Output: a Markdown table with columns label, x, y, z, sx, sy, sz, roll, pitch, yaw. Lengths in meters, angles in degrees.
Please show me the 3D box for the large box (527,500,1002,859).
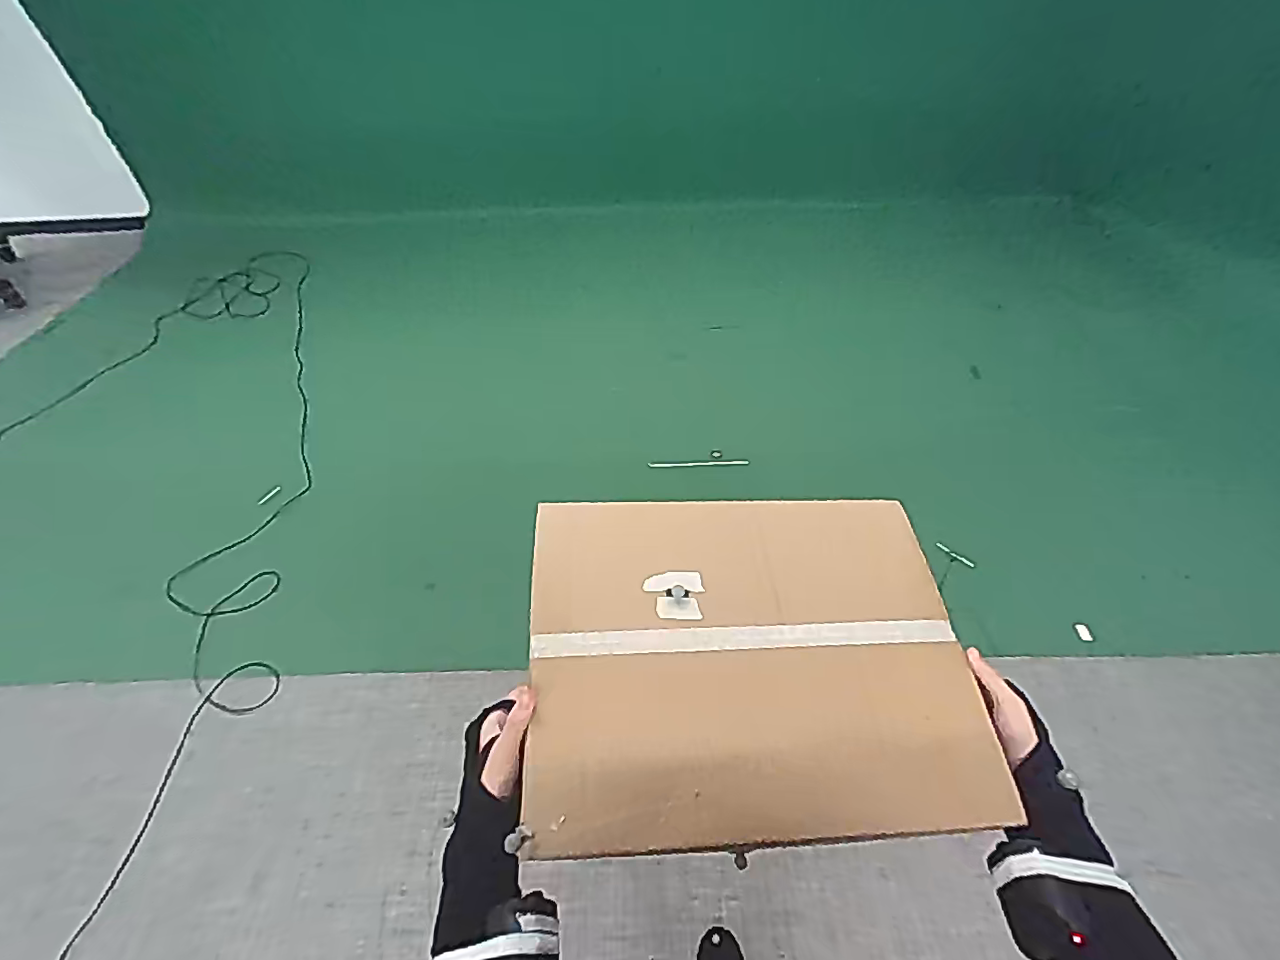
| label | x | y | z | sx | sy | sz | roll | pitch | yaw |
| --- | --- | --- | --- | --- | --- | --- | --- | --- | --- |
| large box | 0.092 | 0.240 | 0.640 | 0.408 | 0.320 | 0.320 | -2 | 55 | -5 |
